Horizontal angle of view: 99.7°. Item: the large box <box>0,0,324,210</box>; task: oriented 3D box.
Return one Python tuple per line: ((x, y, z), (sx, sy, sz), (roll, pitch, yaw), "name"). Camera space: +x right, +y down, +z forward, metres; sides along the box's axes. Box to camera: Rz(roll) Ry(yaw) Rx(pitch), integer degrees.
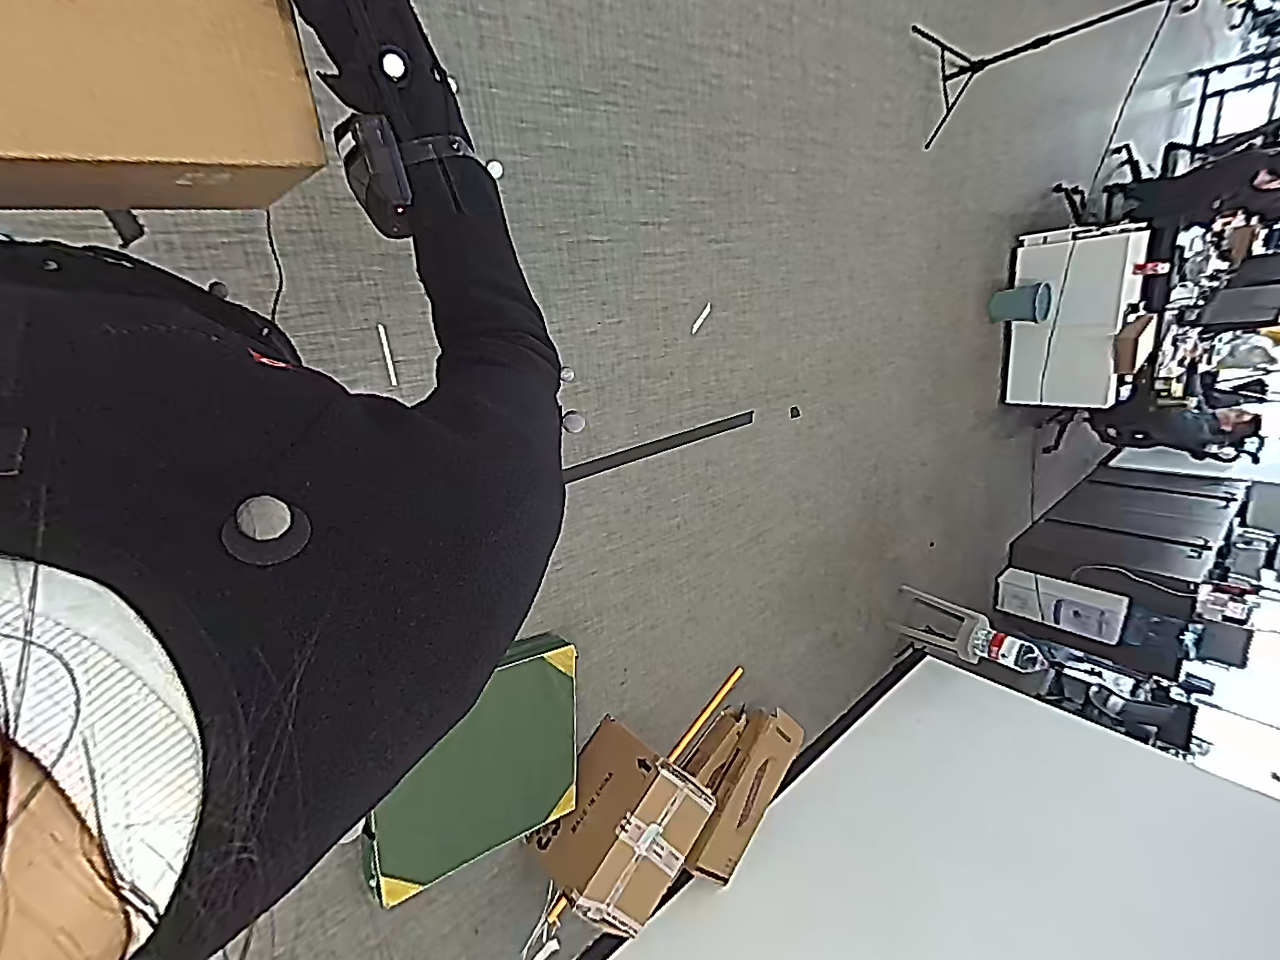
((-0.483, -0.343, 0.320), (0.408, 0.320, 0.320), (-22, 120, -35), "large box")
